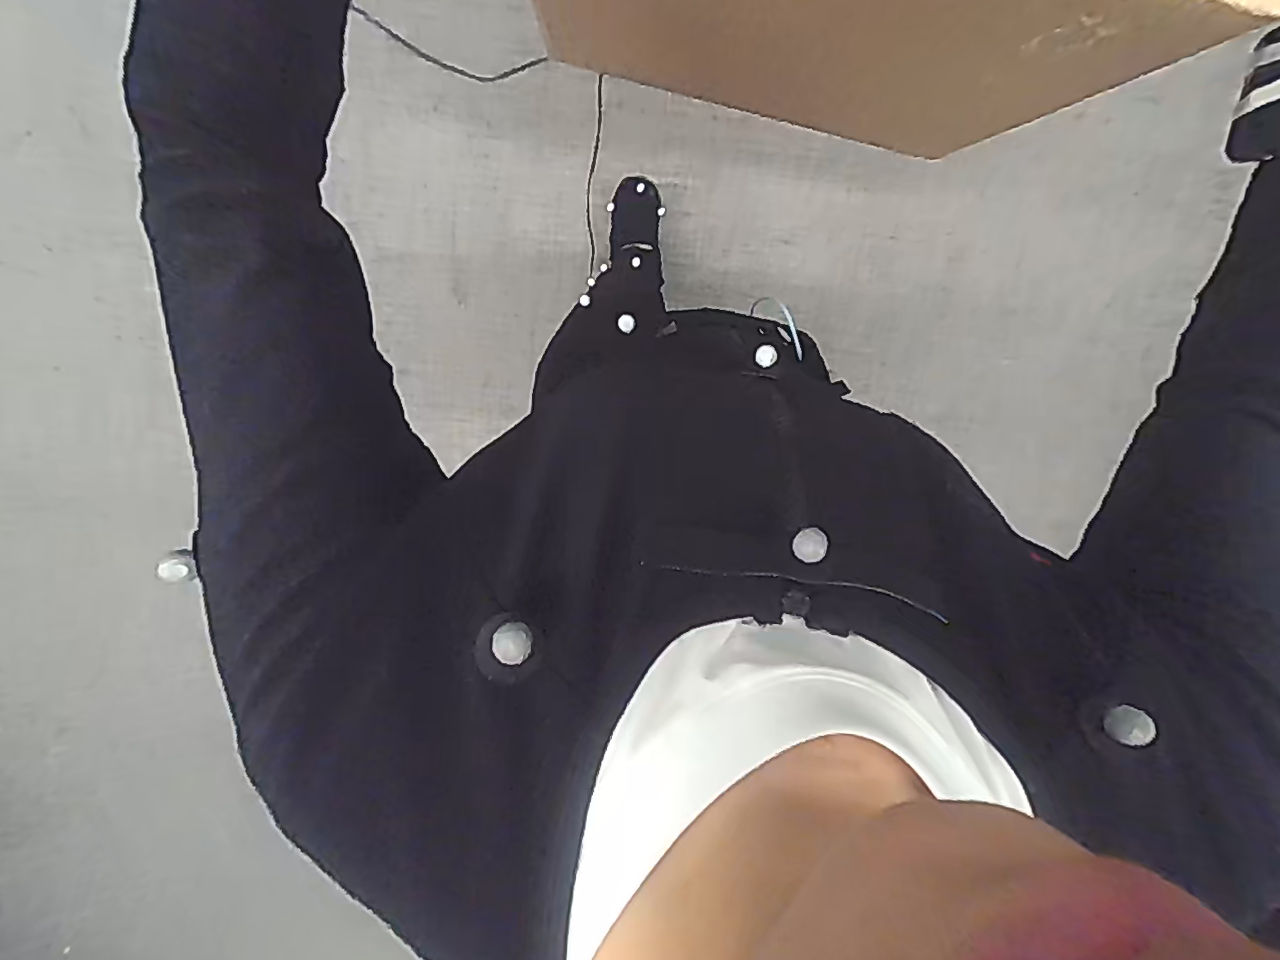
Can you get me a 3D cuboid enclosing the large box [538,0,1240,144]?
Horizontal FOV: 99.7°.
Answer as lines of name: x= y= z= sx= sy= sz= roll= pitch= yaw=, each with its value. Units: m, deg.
large box: x=0.140 y=-0.465 z=0.351 sx=0.408 sy=0.320 sz=0.320 roll=9 pitch=110 yaw=-6
